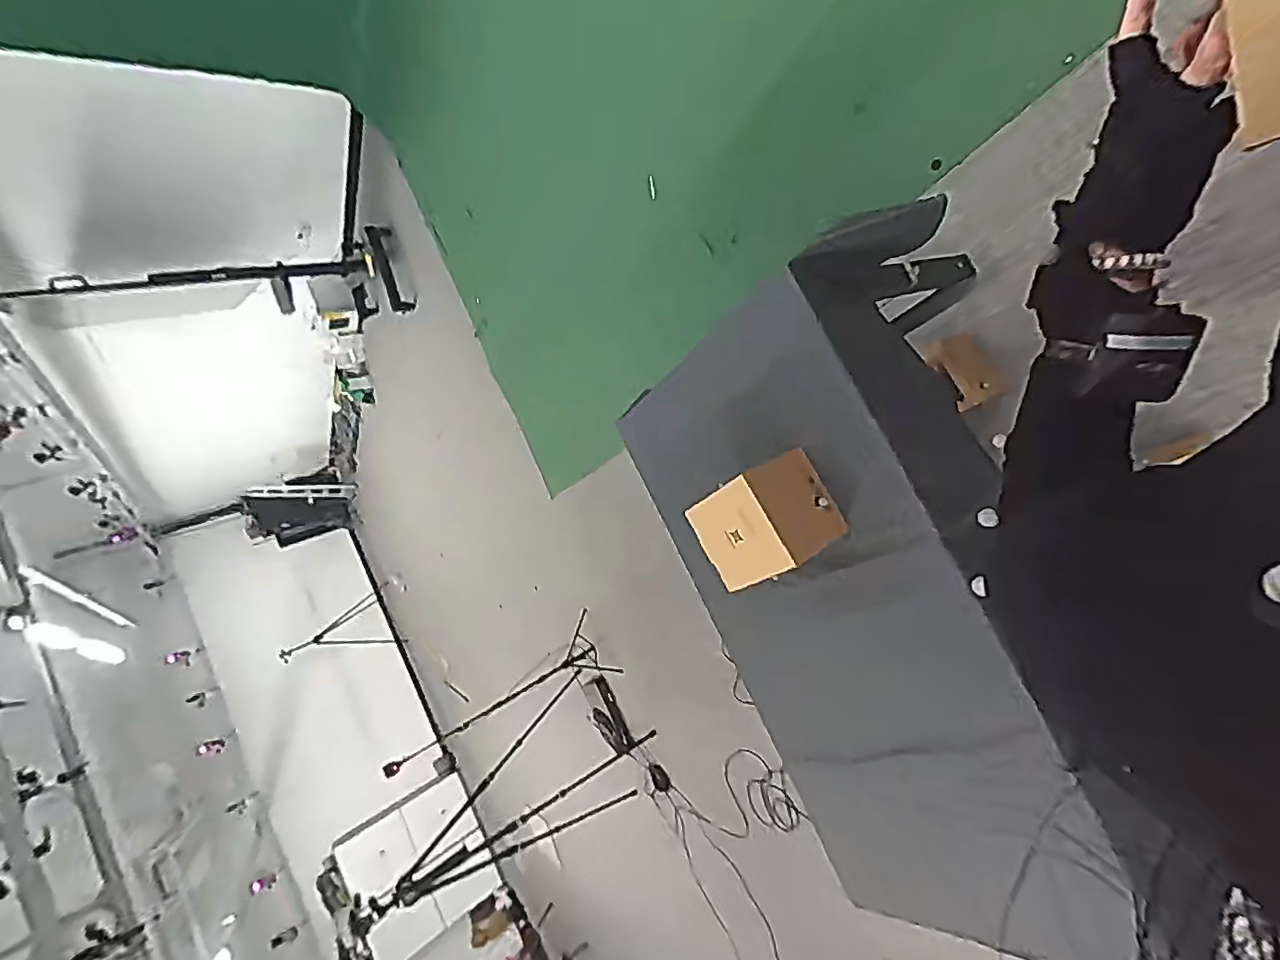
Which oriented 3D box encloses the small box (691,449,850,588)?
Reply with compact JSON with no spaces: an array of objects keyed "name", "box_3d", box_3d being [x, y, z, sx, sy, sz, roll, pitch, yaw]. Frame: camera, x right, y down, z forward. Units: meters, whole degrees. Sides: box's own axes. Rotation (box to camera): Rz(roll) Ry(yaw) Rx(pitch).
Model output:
[{"name":"small box","box_3d":[0.230,0.068,0.956,0.168,0.176,0.179,61,144,8]}]
